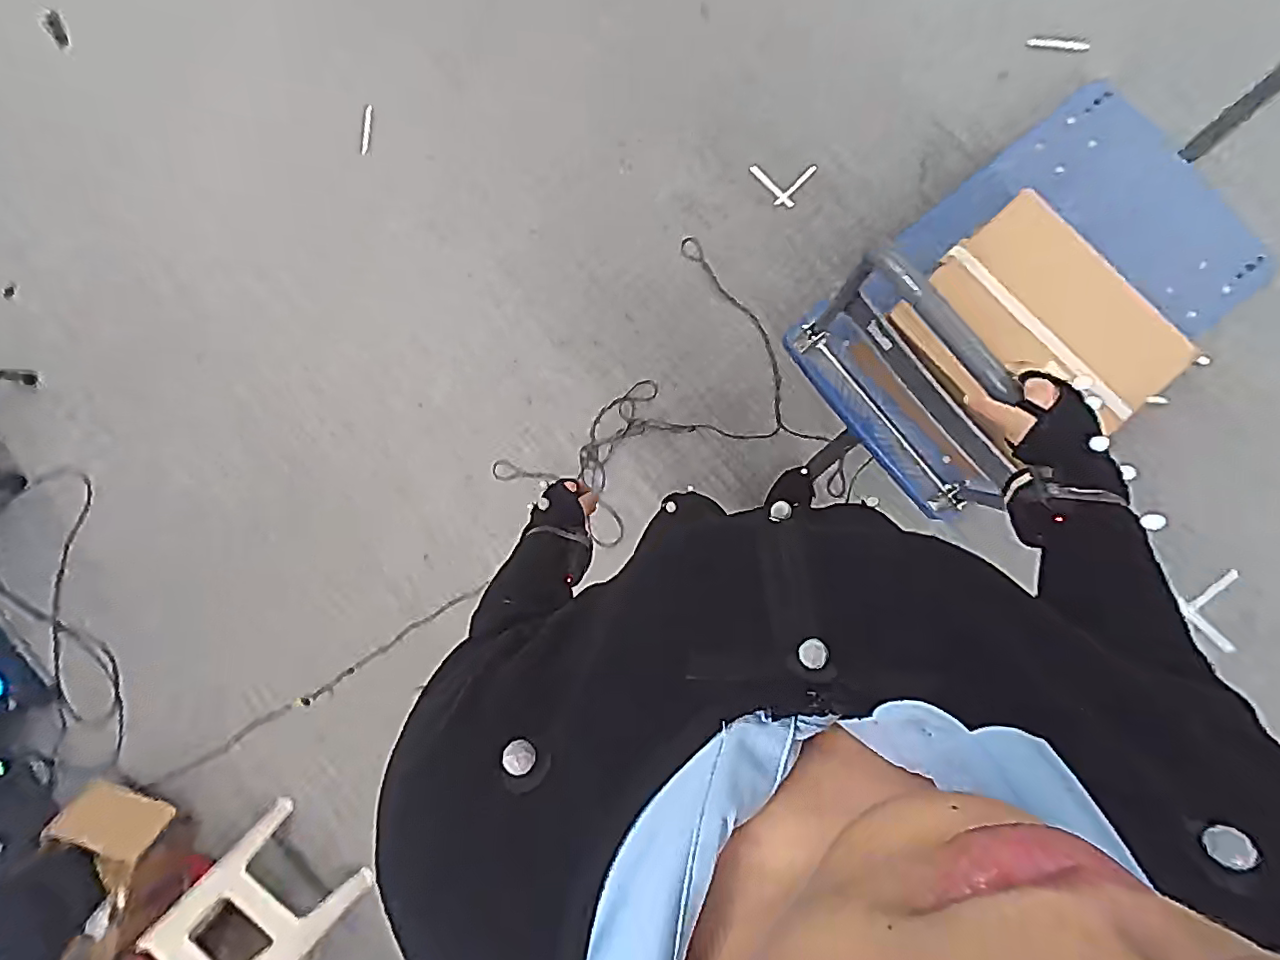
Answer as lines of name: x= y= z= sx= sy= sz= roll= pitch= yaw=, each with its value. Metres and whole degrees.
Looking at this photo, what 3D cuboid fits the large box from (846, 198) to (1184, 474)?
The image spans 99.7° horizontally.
large box: x=0.705 y=-0.259 z=1.099 sx=0.320 sy=0.320 sz=0.408 roll=-43 pitch=87 yaw=7
